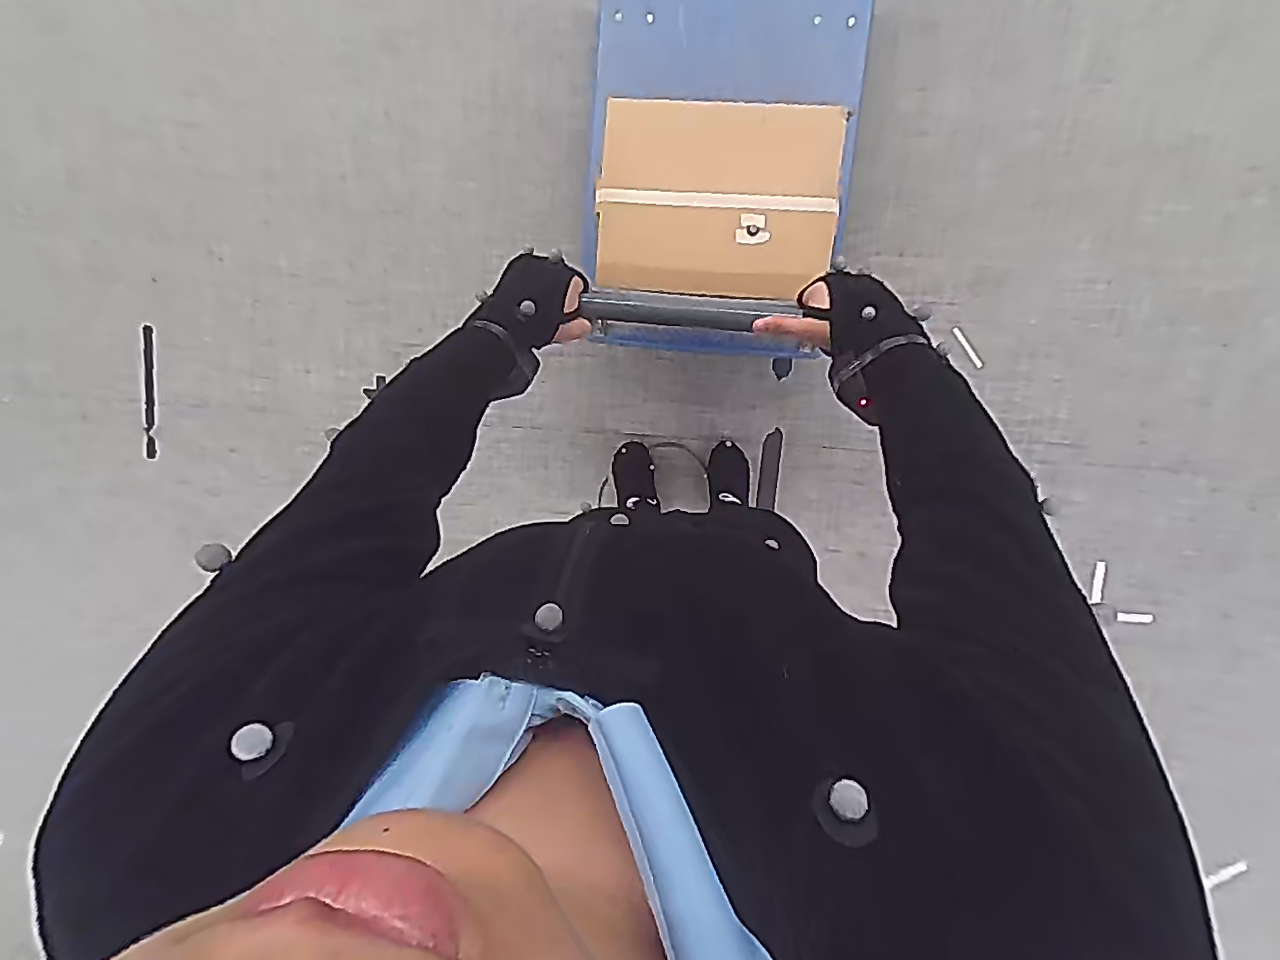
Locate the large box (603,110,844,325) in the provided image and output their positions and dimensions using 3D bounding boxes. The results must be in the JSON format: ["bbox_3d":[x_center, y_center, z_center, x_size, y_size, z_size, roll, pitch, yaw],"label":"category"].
[{"bbox_3d":[0.149,-0.498,1.090,0.408,0.320,0.320,5,99,5],"label":"large box"}]
